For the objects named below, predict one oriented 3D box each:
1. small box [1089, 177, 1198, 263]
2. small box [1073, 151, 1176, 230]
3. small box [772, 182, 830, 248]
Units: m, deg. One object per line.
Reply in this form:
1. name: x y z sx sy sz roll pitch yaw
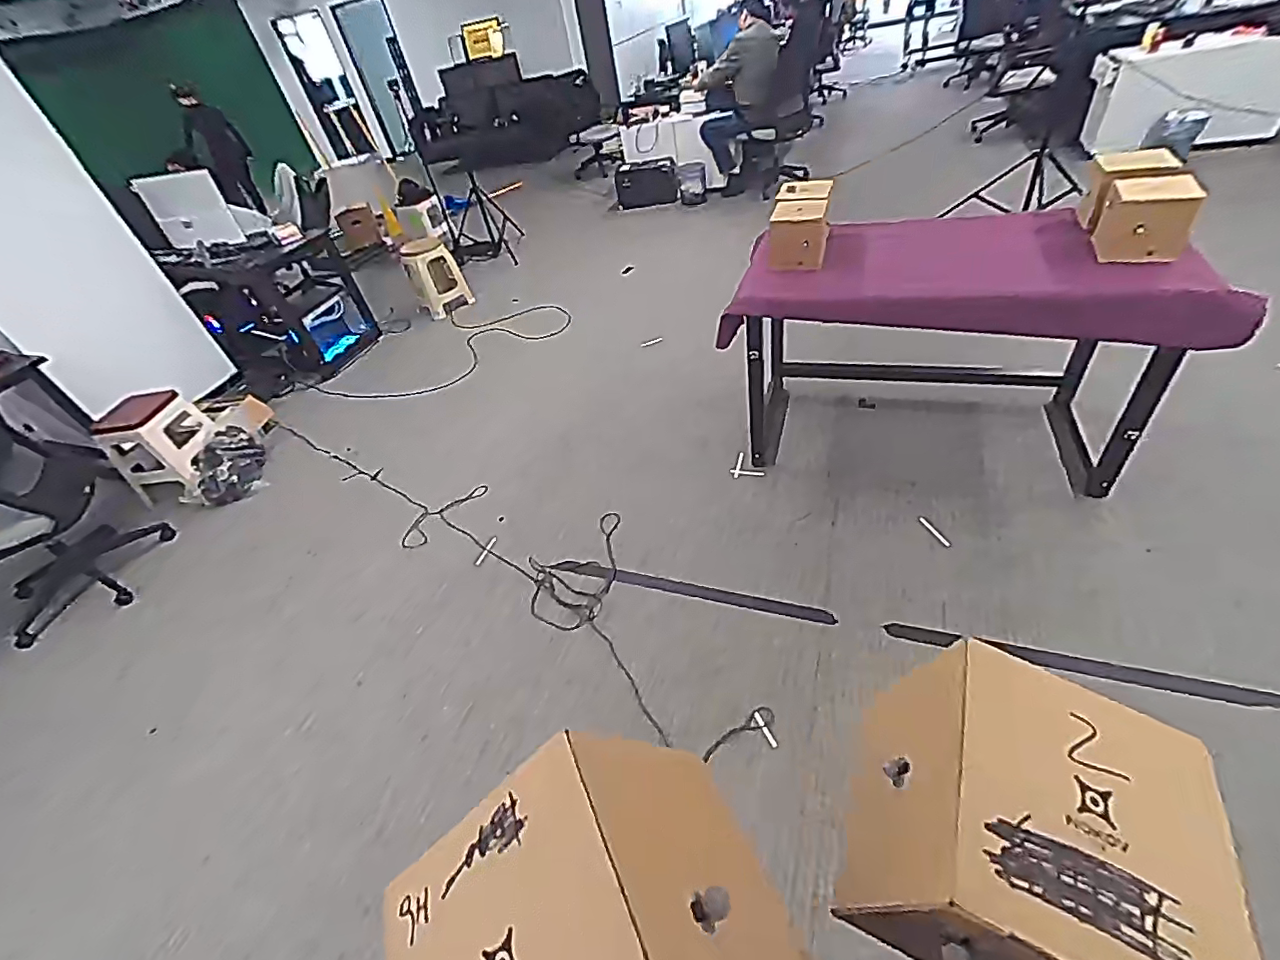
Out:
1. small box: 1.367 -0.707 1.481 0.168 0.176 0.179 10 46 25
2. small box: 1.439 -0.864 1.623 0.179 0.176 0.168 8 47 21
3. small box: 0.575 -0.946 1.935 0.179 0.176 0.168 9 48 21
